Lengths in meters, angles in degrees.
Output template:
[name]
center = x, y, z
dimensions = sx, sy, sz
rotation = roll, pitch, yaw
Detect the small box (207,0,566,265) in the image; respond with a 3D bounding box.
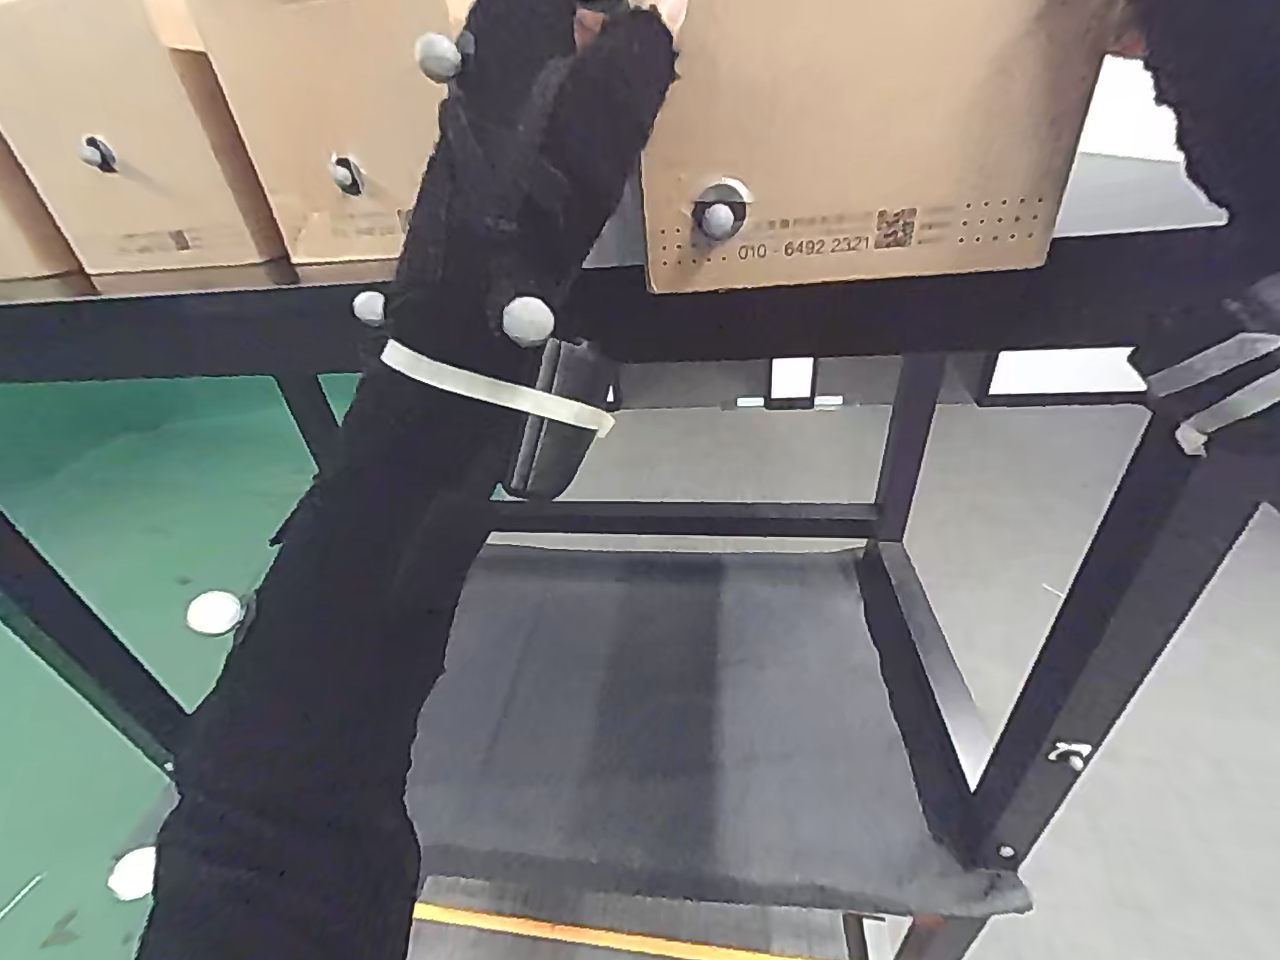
[small box]
center = -0.160, -0.267, 0.406
dimensions = 0.168, 0.176, 0.179
rotation = 1, 34, 10
